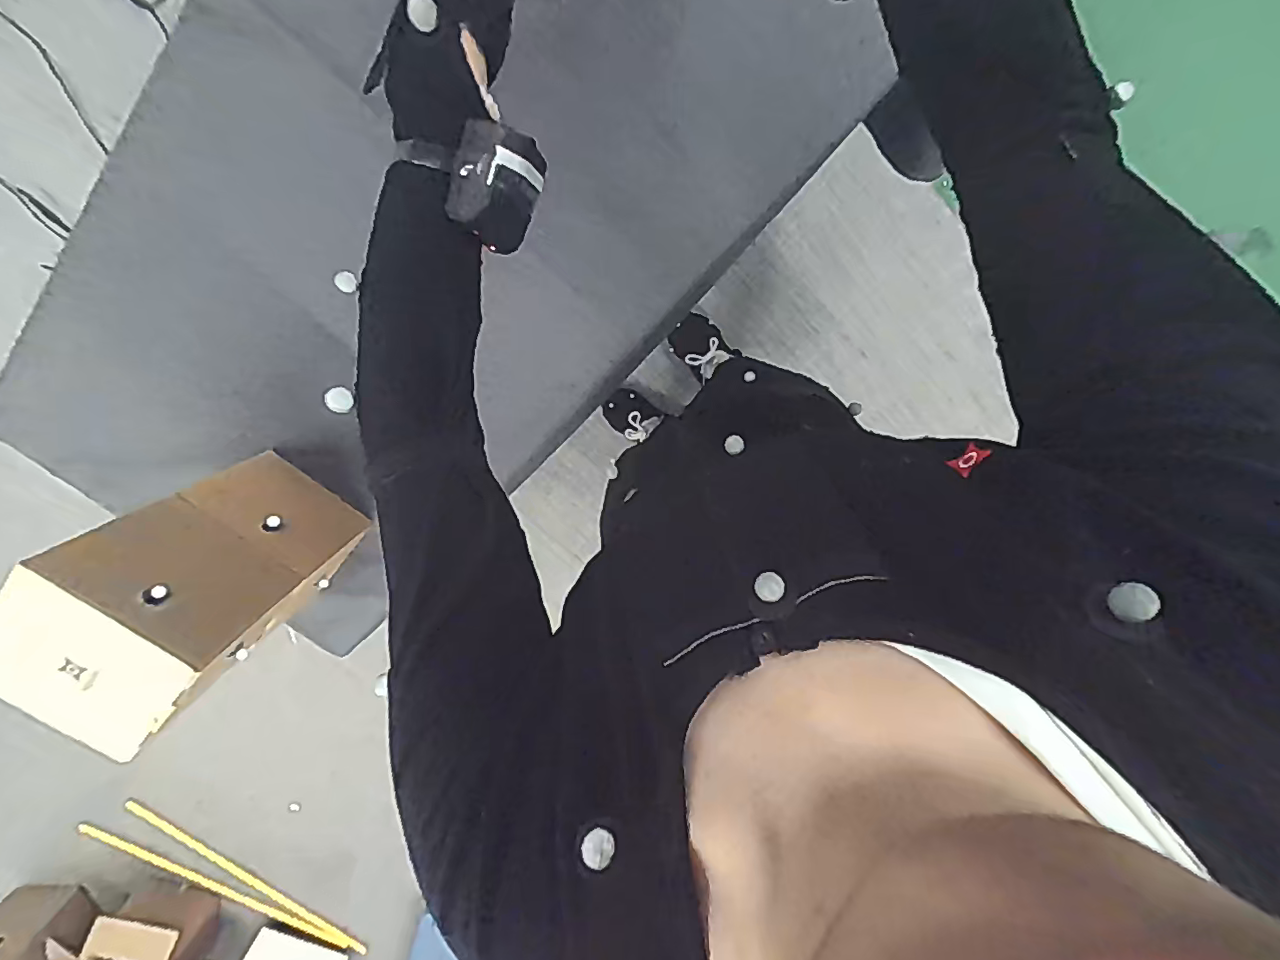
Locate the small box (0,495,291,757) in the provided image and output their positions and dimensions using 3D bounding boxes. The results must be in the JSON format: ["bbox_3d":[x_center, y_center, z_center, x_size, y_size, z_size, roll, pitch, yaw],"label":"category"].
[{"bbox_3d":[-0.530,0.145,0.581,0.179,0.176,0.168,42,106,-13],"label":"small box"}]

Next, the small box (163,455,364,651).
[{"bbox_3d":[-0.524,0.086,0.733,0.179,0.176,0.168,40,107,-13],"label":"small box"}]
